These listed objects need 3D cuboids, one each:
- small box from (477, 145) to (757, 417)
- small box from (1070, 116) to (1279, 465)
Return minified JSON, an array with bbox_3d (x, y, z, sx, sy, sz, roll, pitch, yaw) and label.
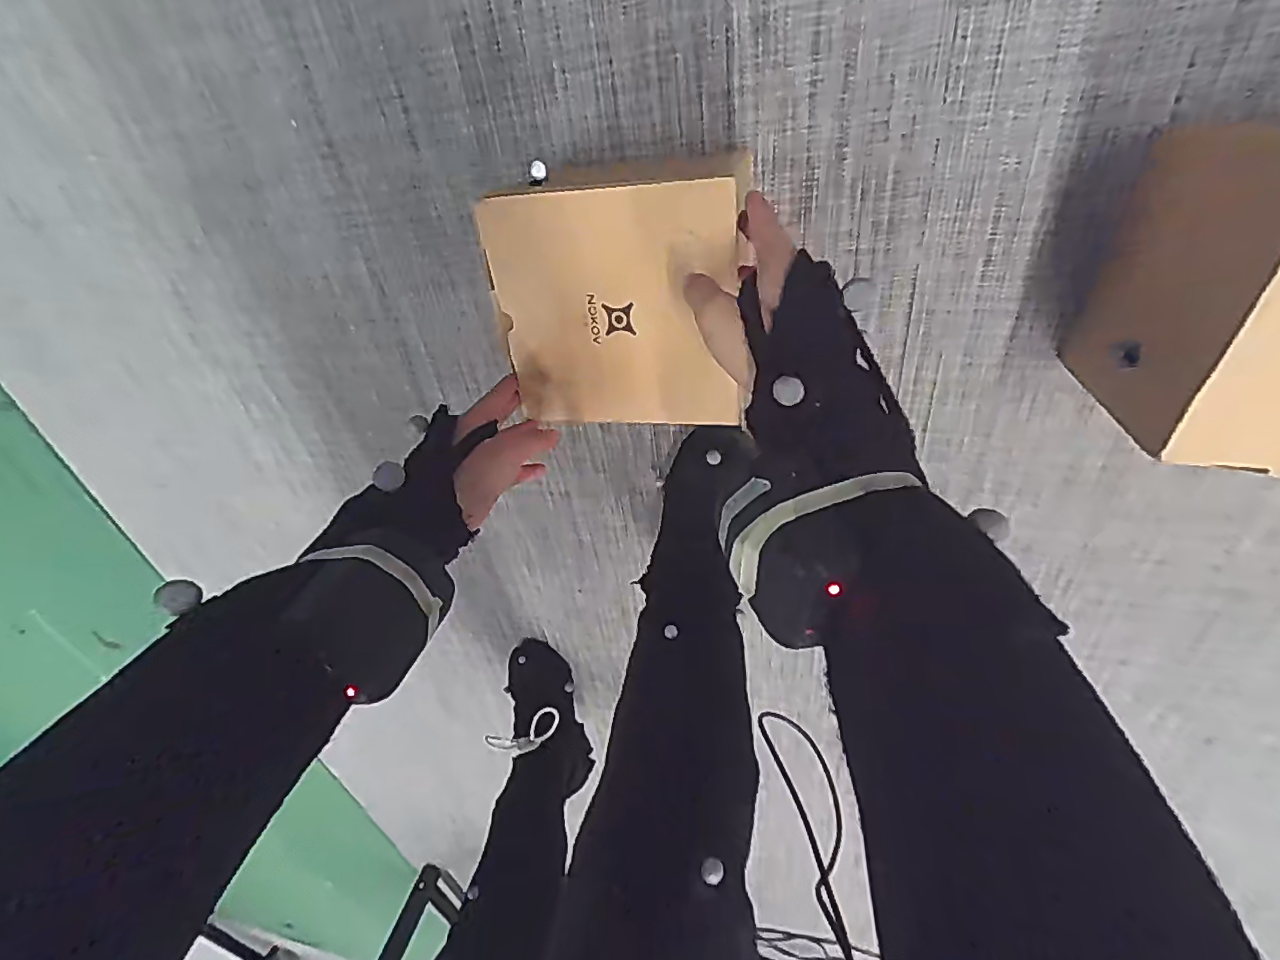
[{"bbox_3d":[0.002,-0.164,0.440,0.179,0.176,0.168,3,125,15],"label":"small box"},{"bbox_3d":[0.419,-0.124,0.342,0.168,0.176,0.179,5,125,11],"label":"small box"}]
